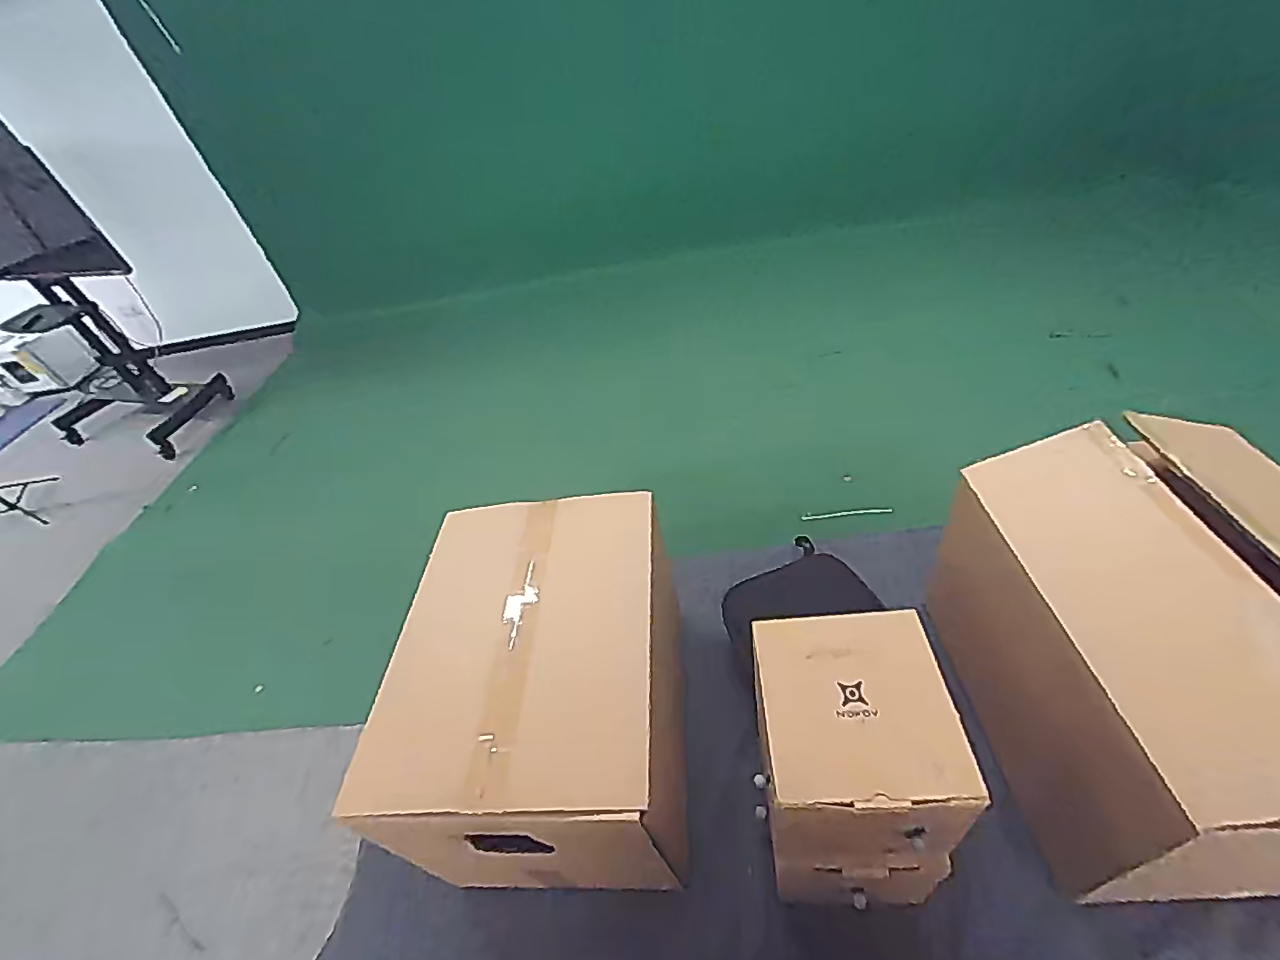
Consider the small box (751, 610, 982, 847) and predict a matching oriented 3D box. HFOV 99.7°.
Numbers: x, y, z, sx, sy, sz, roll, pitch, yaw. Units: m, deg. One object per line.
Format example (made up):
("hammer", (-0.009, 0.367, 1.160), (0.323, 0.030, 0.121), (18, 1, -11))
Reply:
("small box", (0.210, 0.258, 0.555), (0.168, 0.176, 0.179), (-6, 42, 6))
